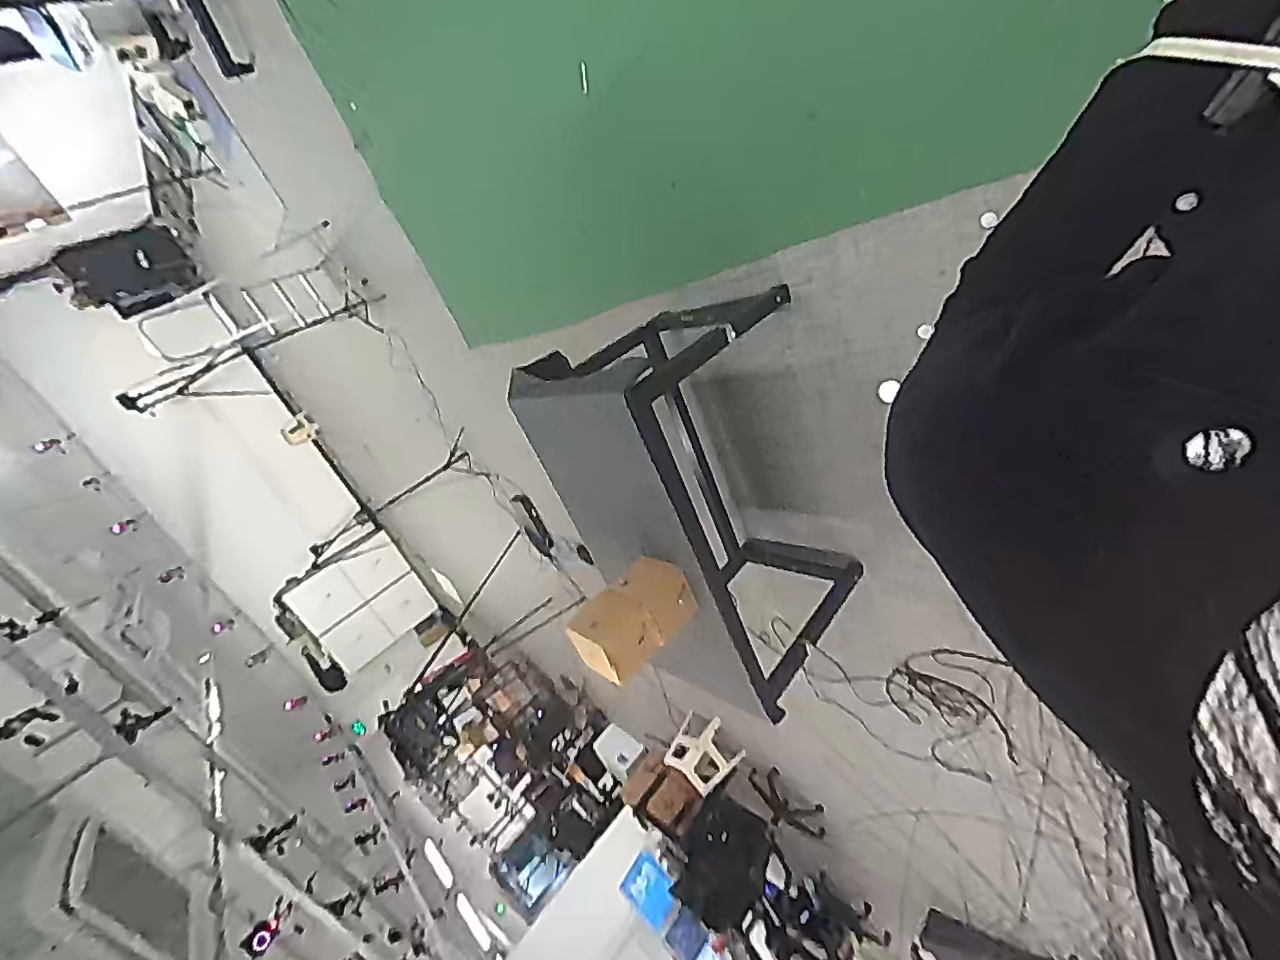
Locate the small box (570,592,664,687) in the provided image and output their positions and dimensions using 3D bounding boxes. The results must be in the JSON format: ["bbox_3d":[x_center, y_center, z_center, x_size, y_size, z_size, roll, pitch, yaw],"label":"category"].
[{"bbox_3d":[-0.062,0.442,1.535,0.179,0.176,0.168,8,129,49],"label":"small box"}]

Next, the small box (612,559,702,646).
[{"bbox_3d":[0.054,0.356,1.610,0.179,0.176,0.168,8,130,50],"label":"small box"}]
